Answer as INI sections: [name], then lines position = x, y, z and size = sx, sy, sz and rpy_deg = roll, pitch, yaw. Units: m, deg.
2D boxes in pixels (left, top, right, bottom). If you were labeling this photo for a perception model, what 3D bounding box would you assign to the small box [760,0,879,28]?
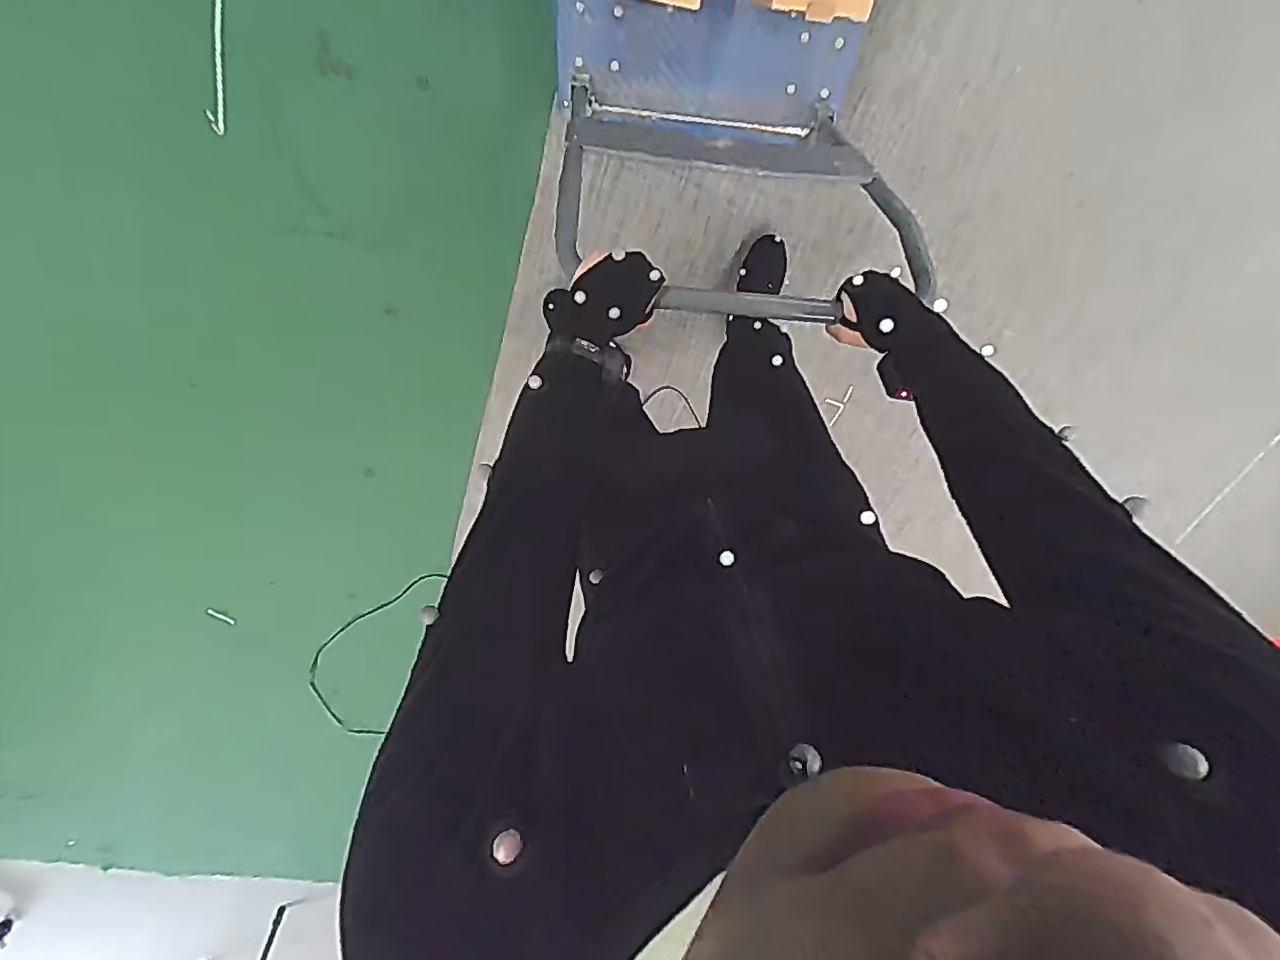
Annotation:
[small box]
position = 0.300, -0.859, 0.867
size = 0.168, 0.176, 0.179
rpy_deg = 3, 135, -7
